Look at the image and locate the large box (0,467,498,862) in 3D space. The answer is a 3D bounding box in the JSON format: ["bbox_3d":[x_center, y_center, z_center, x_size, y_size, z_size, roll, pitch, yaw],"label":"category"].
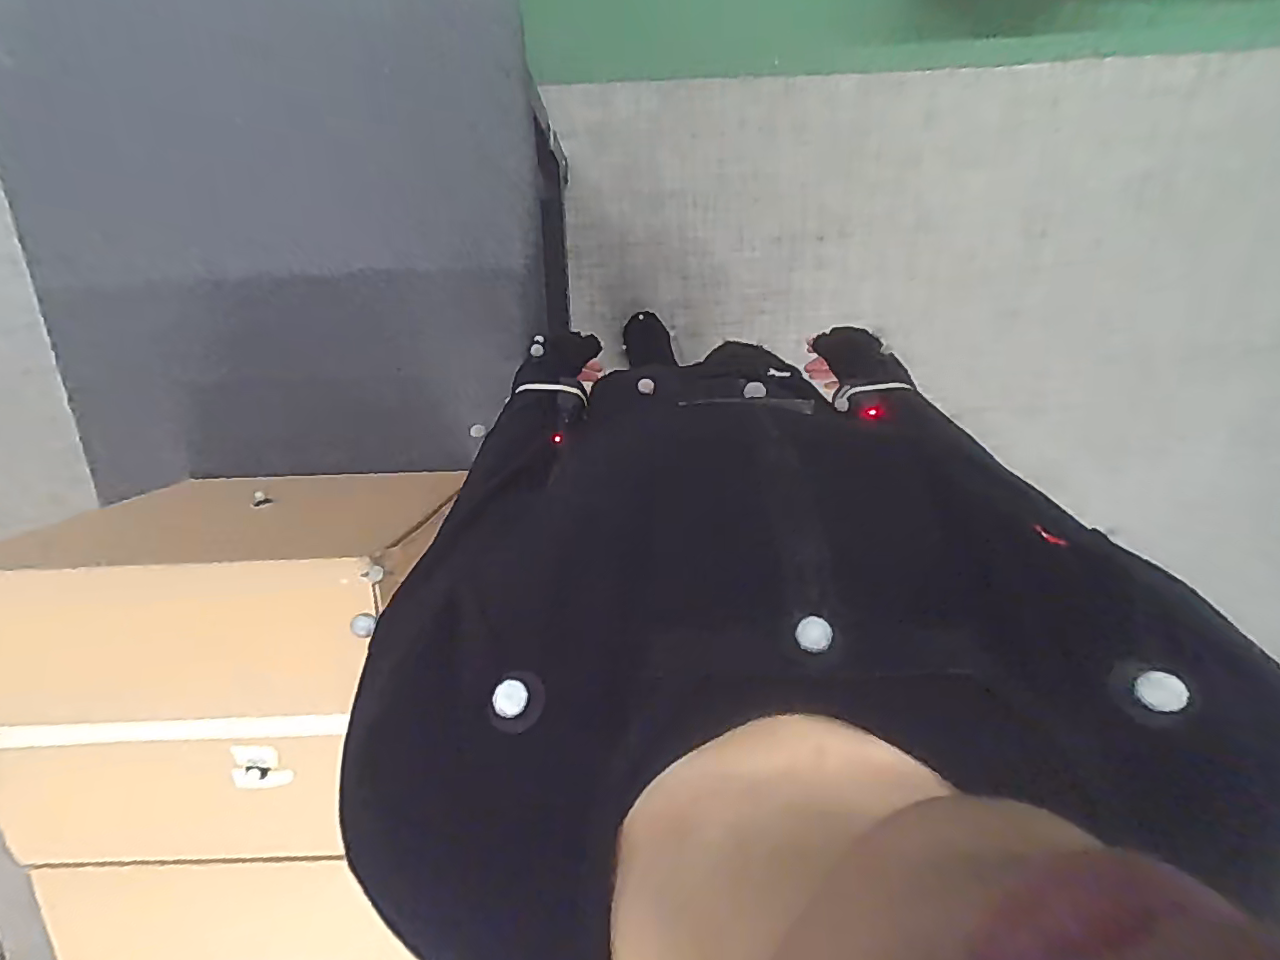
[{"bbox_3d":[-0.412,0.173,0.627,0.408,0.320,0.320,-3,105,0],"label":"large box"}]
